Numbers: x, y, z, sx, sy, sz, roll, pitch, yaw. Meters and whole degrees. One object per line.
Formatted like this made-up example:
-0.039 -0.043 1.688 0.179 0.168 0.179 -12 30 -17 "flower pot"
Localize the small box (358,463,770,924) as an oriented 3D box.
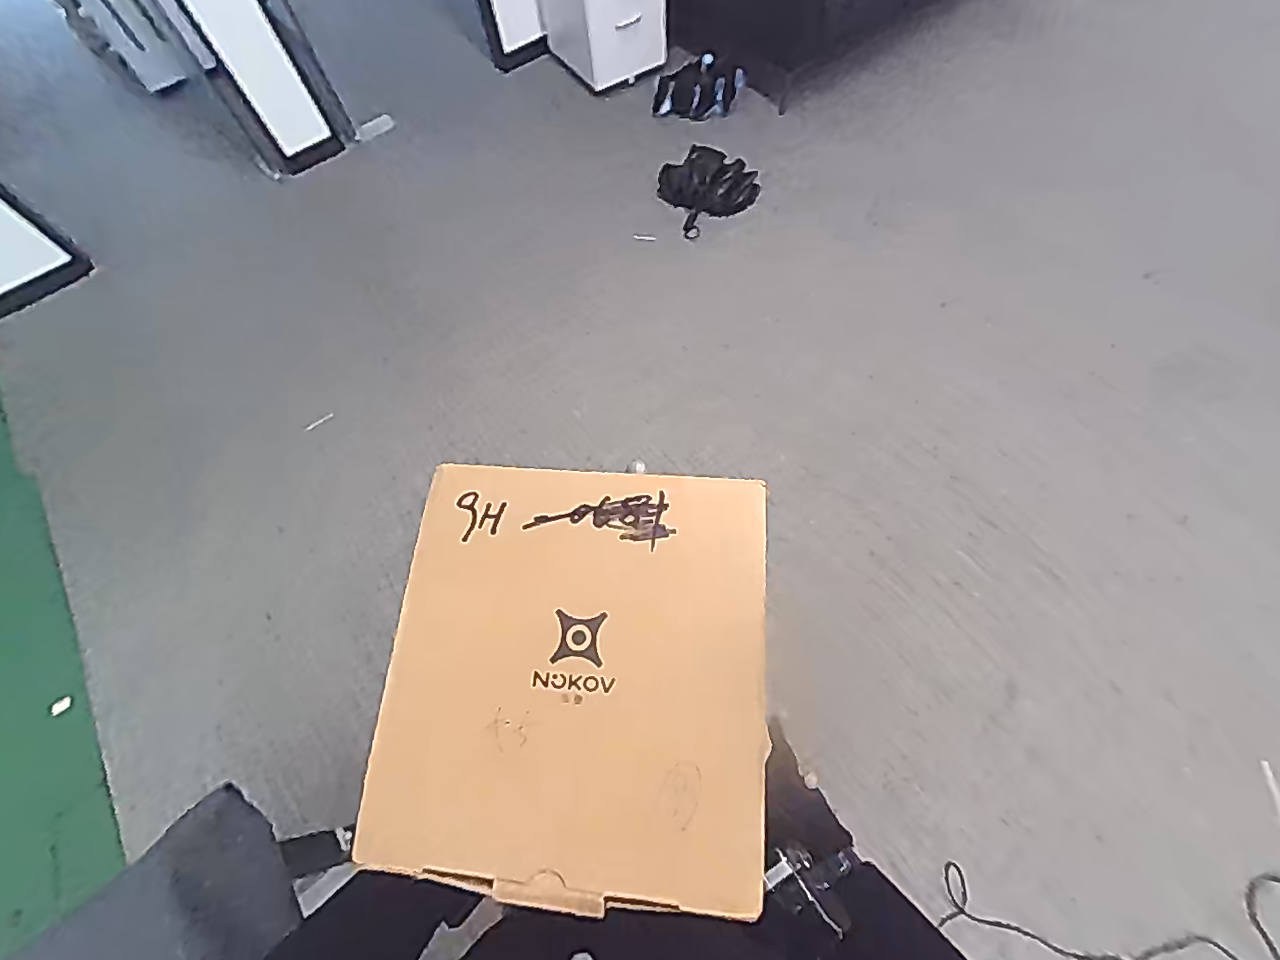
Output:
-0.020 0.102 0.311 0.168 0.176 0.179 3 73 6 "small box"
